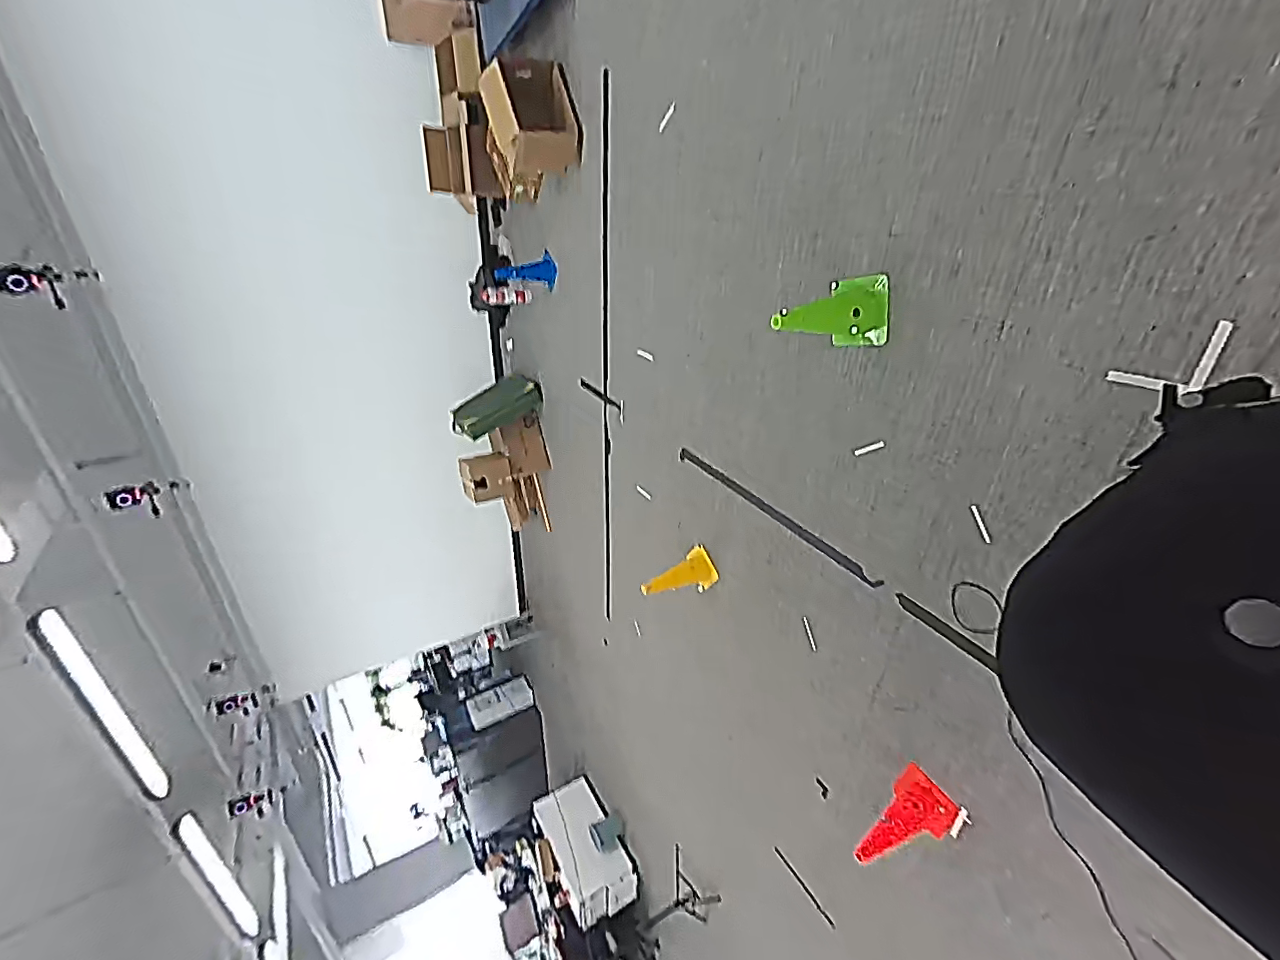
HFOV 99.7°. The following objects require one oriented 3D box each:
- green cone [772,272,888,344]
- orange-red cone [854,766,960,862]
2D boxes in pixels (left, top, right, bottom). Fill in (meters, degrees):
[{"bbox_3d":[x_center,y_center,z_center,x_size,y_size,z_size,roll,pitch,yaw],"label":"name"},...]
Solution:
[{"bbox_3d":[0.526,-0.480,1.576,0.202,0.368,0.200,18,120,56],"label":"green cone"},{"bbox_3d":[0.848,1.162,1.806,0.199,0.360,0.198,48,142,43],"label":"orange-red cone"}]
